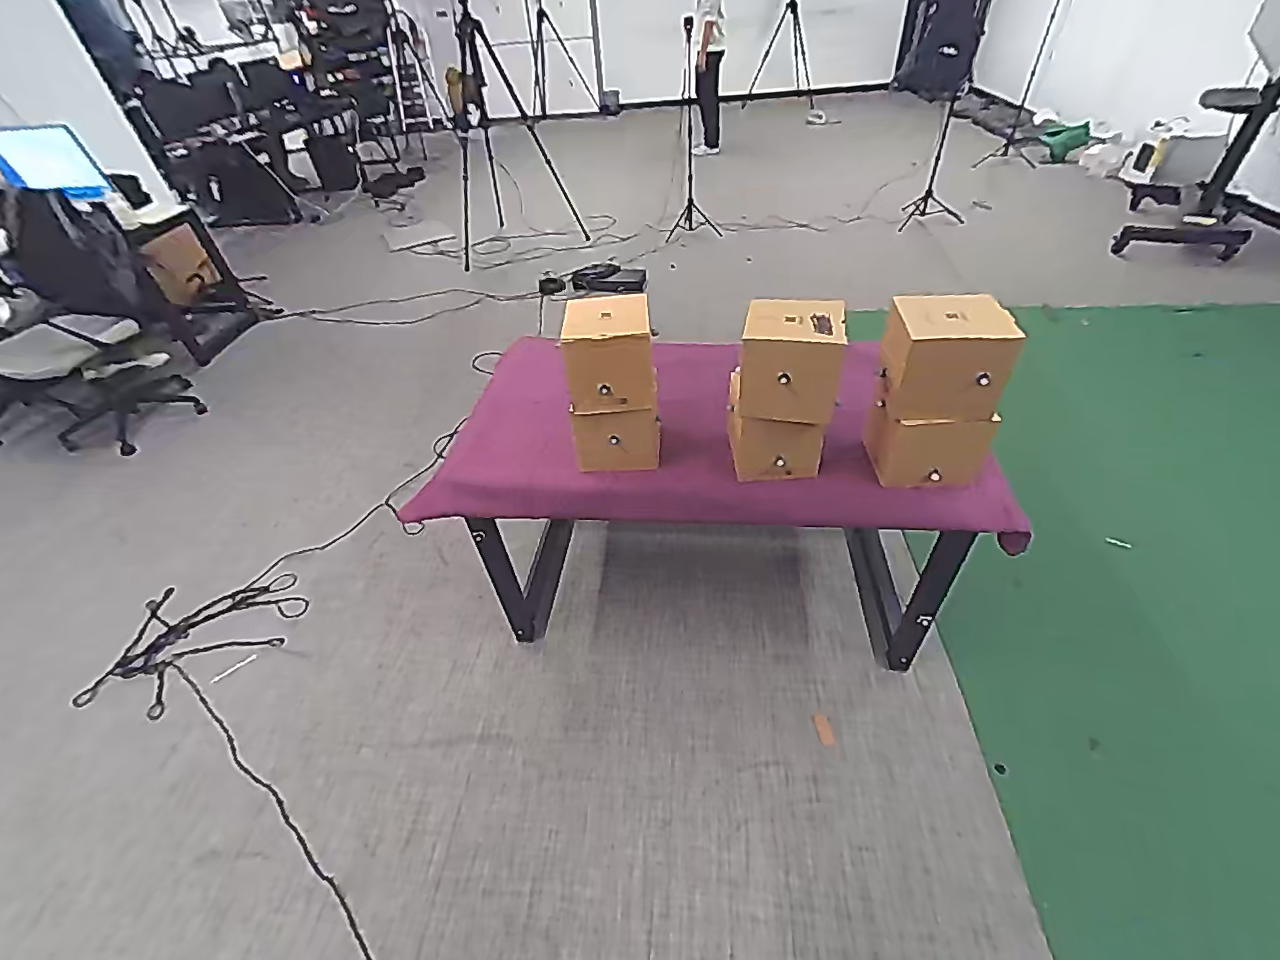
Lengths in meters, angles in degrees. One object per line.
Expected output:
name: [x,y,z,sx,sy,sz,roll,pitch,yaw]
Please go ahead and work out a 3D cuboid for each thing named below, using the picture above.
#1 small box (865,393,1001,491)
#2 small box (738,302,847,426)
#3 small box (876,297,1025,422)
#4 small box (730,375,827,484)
small box: [0.575,-0.092,1.090,0.179,0.176,0.168,-2,42,5]
small box: [0.284,-0.218,1.020,0.179,0.176,0.168,6,43,15]
small box: [0.551,-0.217,0.987,0.179,0.176,0.168,1,43,10]
small box: [0.284,-0.111,1.148,0.168,0.176,0.179,-4,41,4]
